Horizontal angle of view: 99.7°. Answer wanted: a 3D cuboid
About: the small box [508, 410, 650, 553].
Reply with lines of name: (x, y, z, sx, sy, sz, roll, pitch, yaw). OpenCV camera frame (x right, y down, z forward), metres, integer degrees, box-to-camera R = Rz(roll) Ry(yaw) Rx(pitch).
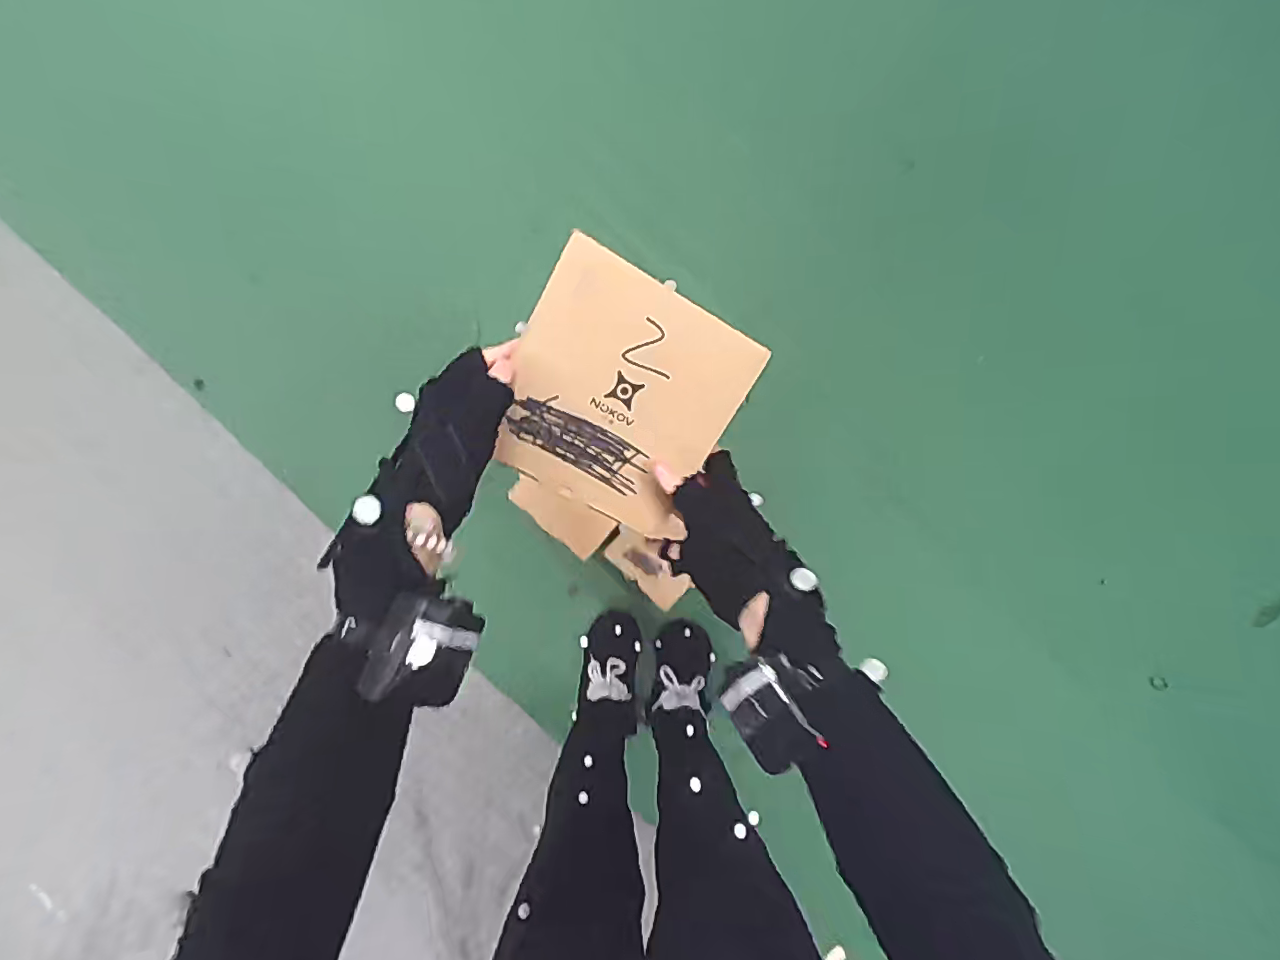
small box: (-0.101, 0.002, 0.949, 0.168, 0.176, 0.179, 40, 89, 0)
